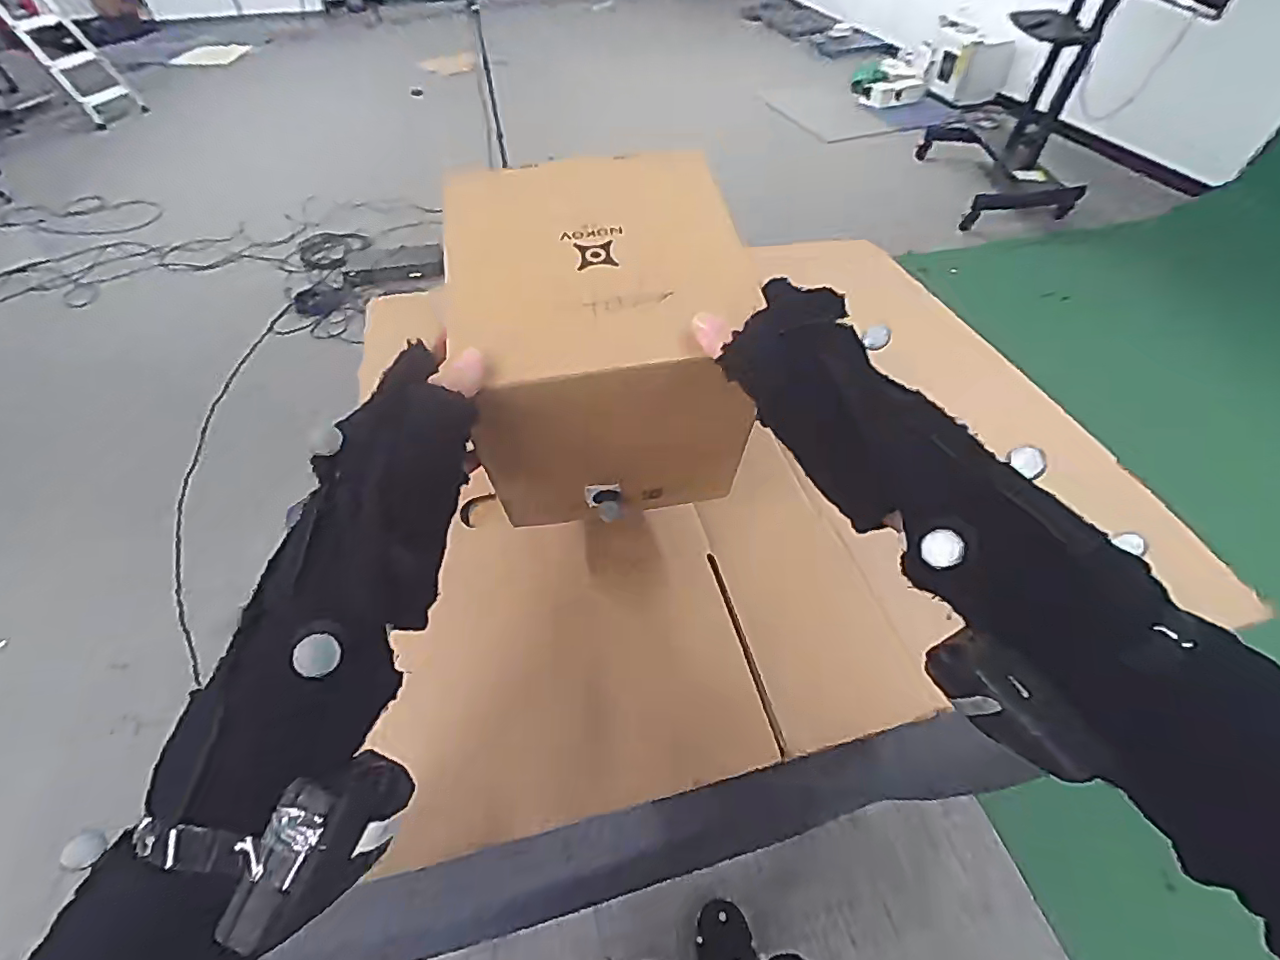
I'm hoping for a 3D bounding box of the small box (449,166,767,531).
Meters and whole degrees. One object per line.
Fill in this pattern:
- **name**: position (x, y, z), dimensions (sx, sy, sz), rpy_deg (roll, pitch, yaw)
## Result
- **small box**: position (-0.029, -0.085, 0.385), dimensions (0.168, 0.176, 0.179), rpy_deg (-10, 62, -5)
